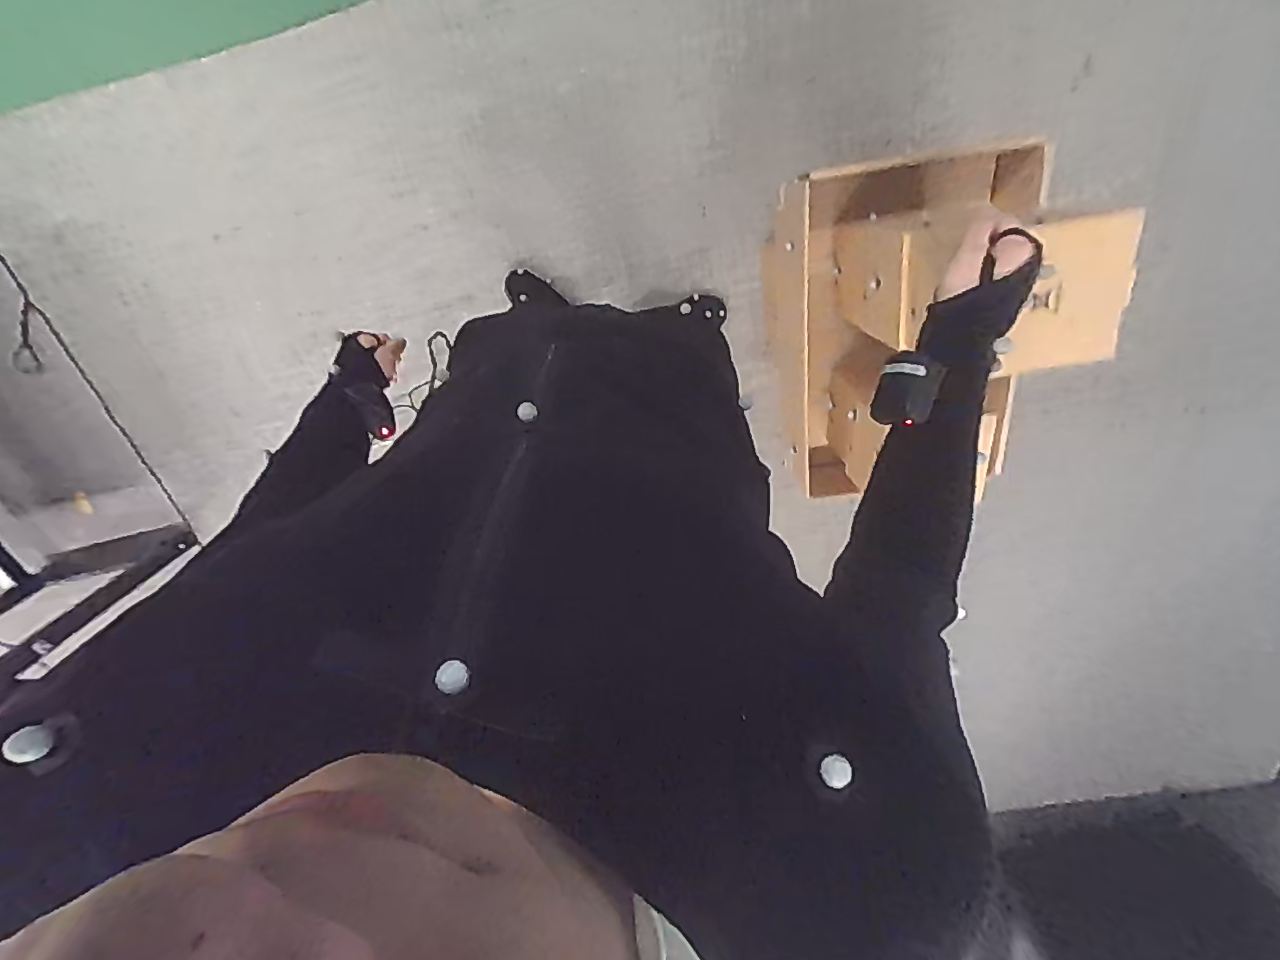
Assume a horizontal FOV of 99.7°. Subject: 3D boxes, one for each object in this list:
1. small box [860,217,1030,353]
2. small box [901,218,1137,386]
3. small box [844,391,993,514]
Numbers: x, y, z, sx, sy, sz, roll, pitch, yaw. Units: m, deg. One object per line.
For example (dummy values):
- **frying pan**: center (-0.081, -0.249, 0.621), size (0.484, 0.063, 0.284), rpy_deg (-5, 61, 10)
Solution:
- **small box**: center (0.455, -0.307, 0.841), size (0.179, 0.176, 0.168), rpy_deg (-7, 117, 5)
- **small box**: center (0.463, -0.234, 0.694), size (0.179, 0.176, 0.168), rpy_deg (-8, 115, 5)
- **small box**: center (0.481, -0.054, 0.967), size (0.179, 0.176, 0.168), rpy_deg (-5, 115, 2)
